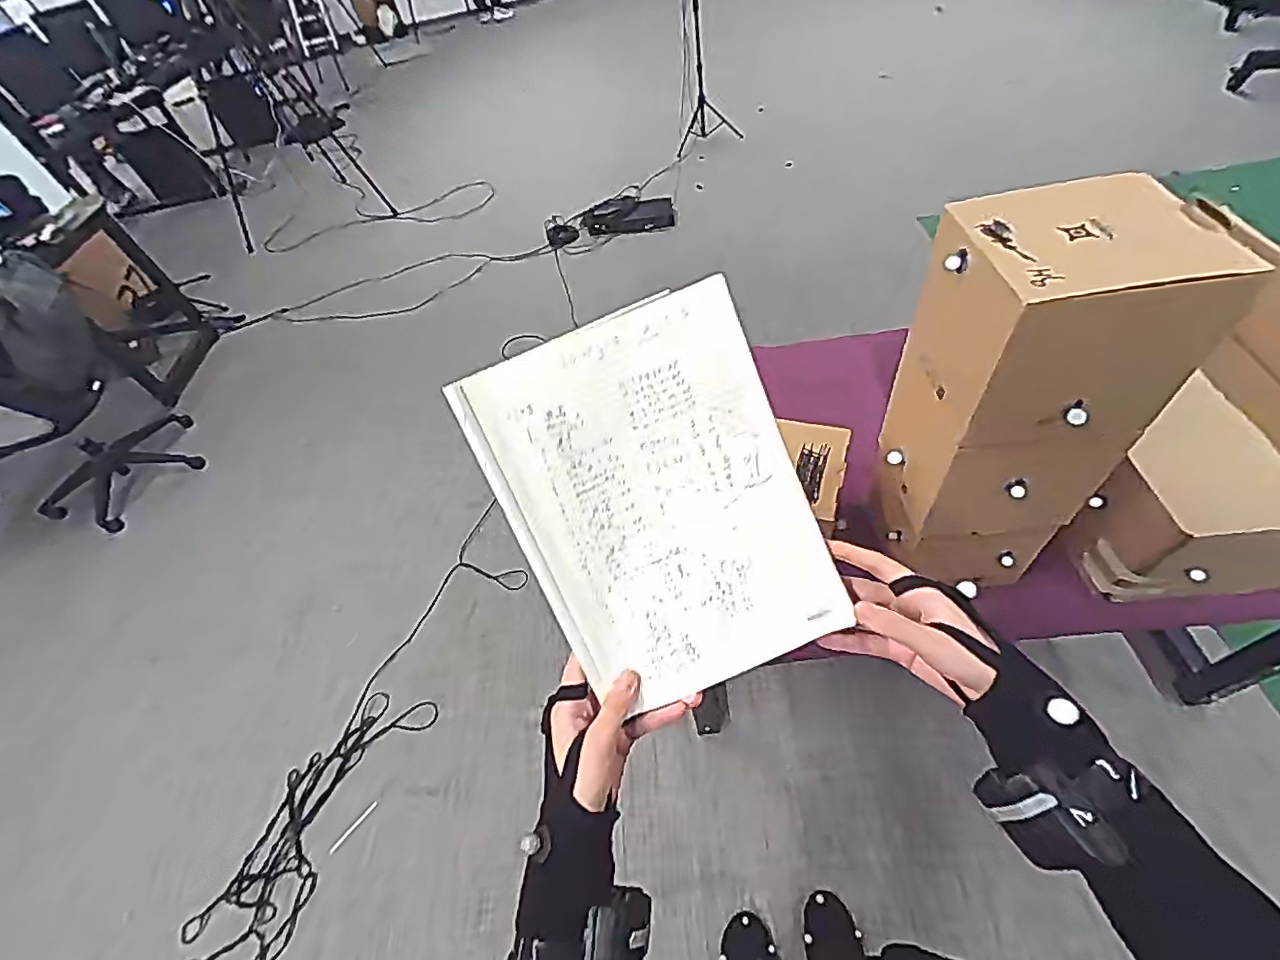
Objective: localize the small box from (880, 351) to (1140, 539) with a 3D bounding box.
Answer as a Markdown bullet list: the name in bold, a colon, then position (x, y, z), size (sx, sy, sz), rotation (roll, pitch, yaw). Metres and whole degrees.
- **small box**: position (0.407, -0.046, 0.637), size (0.179, 0.176, 0.168), rotation (-6, 50, 7)

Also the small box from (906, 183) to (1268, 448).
- **small box**: position (0.382, -0.148, 0.511), size (0.179, 0.176, 0.168), rotation (-6, 50, 6)
